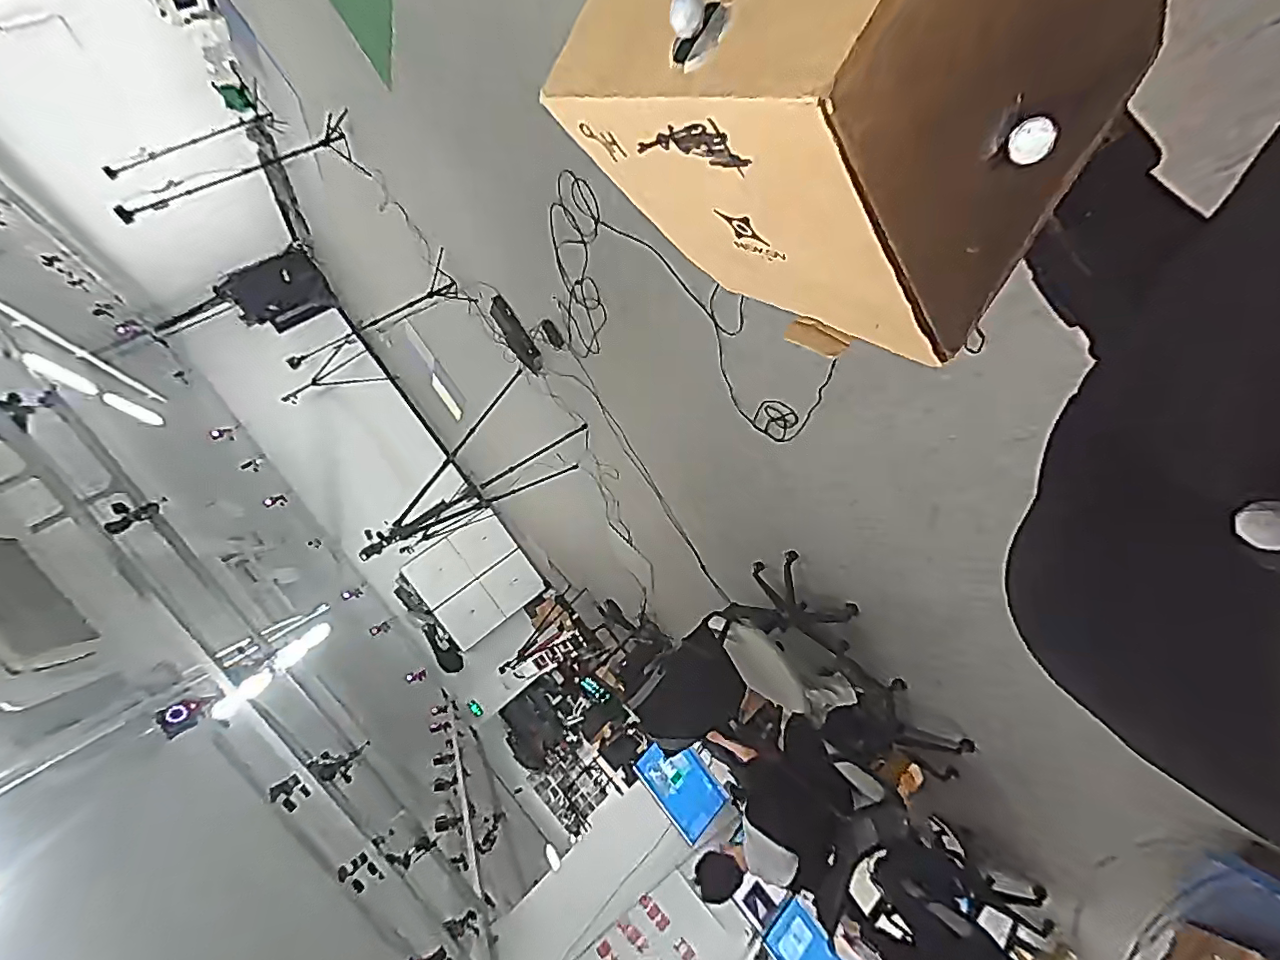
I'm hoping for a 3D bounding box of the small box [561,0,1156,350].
[{"bbox_3d":[0.103,-0.194,0.257,0.179,0.176,0.168,21,-167,-47],"label":"small box"}]
